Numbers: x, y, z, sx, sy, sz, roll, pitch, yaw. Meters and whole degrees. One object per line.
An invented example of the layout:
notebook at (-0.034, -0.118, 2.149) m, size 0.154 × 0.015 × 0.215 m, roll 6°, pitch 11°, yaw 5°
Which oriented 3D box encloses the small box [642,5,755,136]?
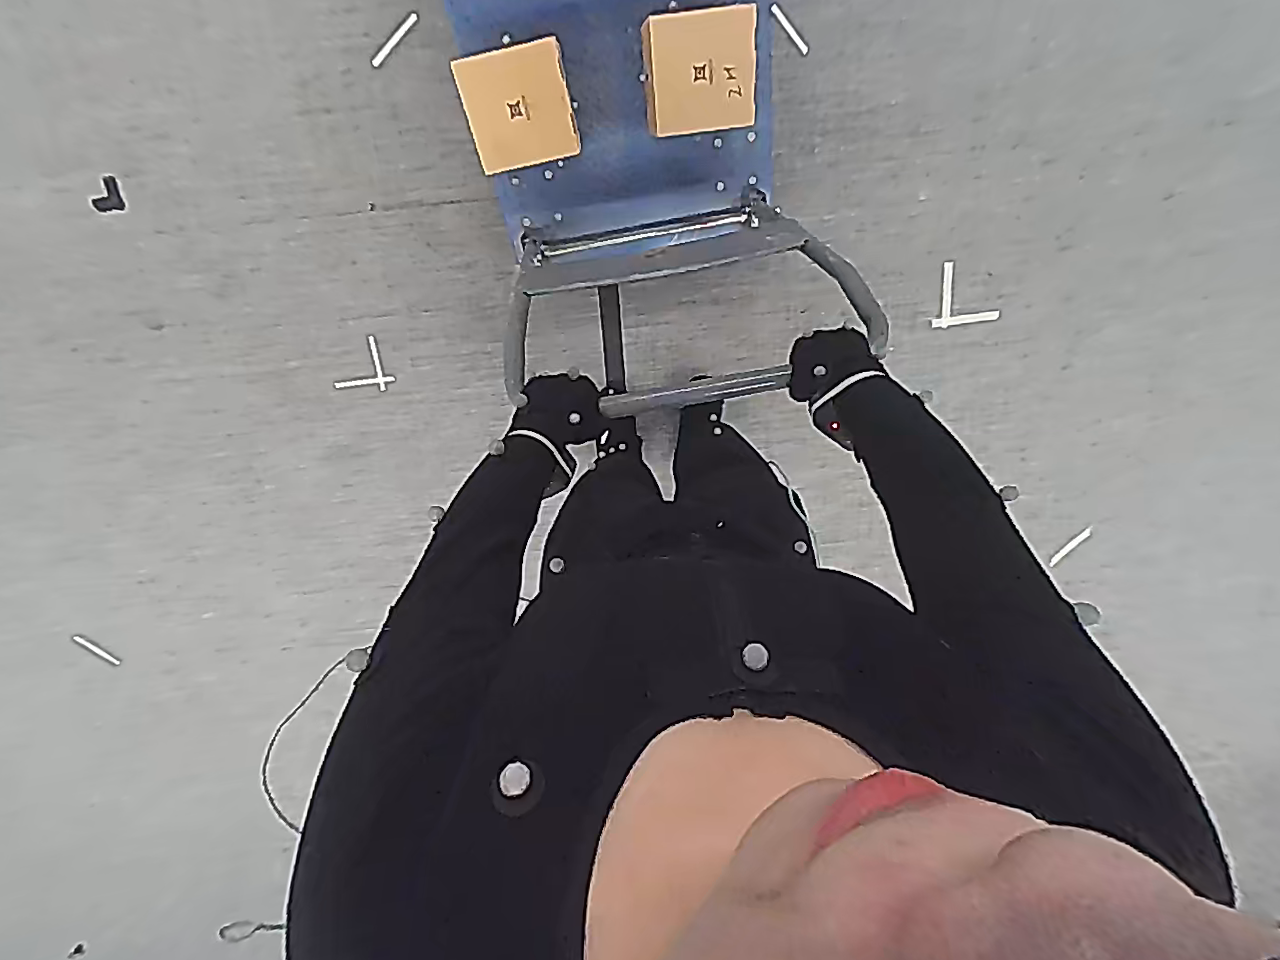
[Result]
small box at (0.098, -0.719, 0.964) m, size 0.179 × 0.176 × 0.168 m, roll -8°, pitch 125°, yaw -1°

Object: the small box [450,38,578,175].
small box at (-0.214, -0.662, 0.970) m, size 0.179 × 0.176 × 0.168 m, roll -13°, pitch 125°, yaw 1°
